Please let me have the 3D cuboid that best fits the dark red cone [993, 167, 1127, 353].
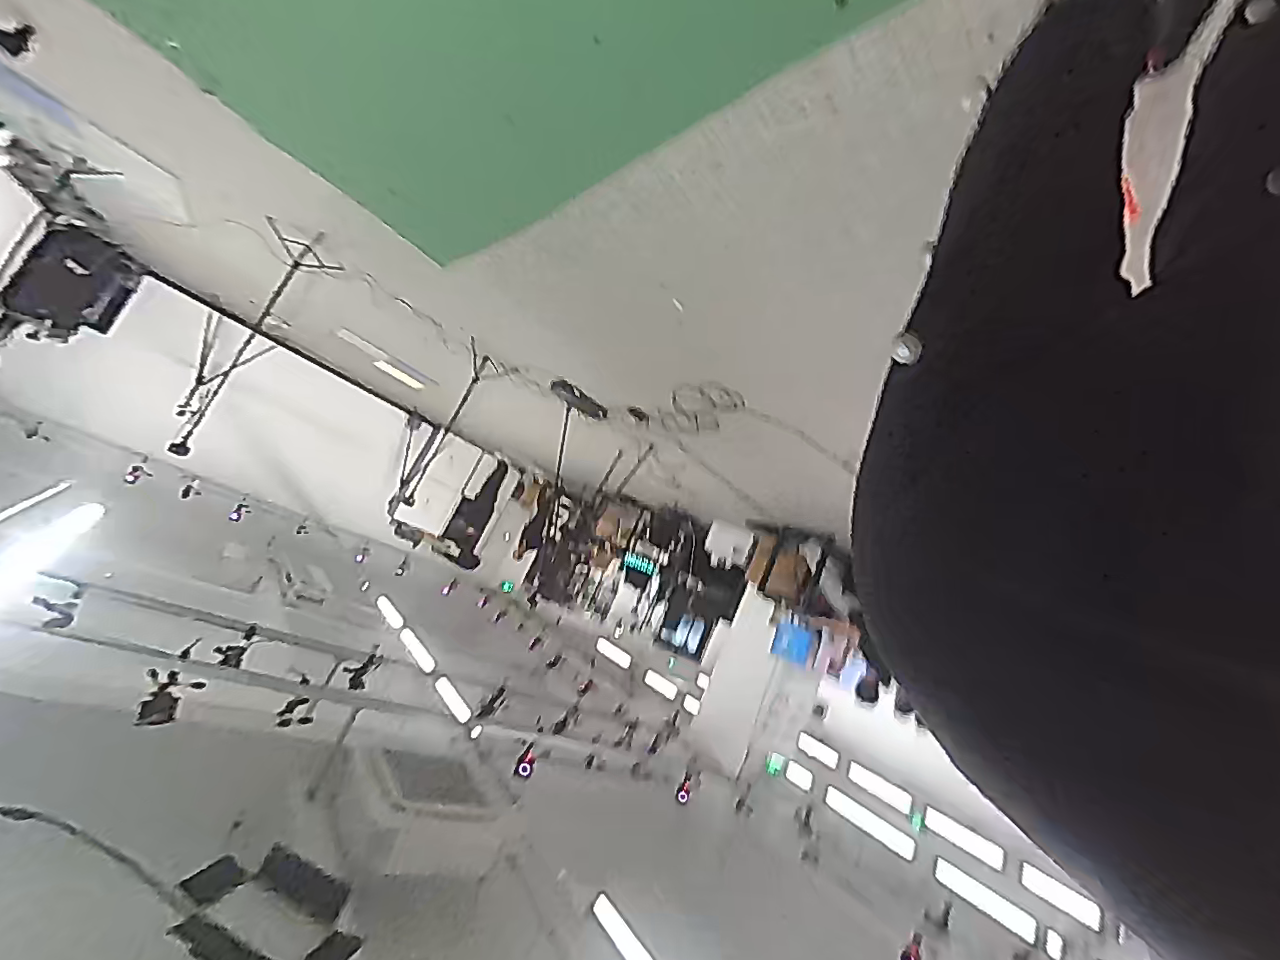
[{"bbox_3d":[0.841,-0.440,1.147,0.201,0.394,0.202,34,167,-28],"label":"dark red cone"}]
